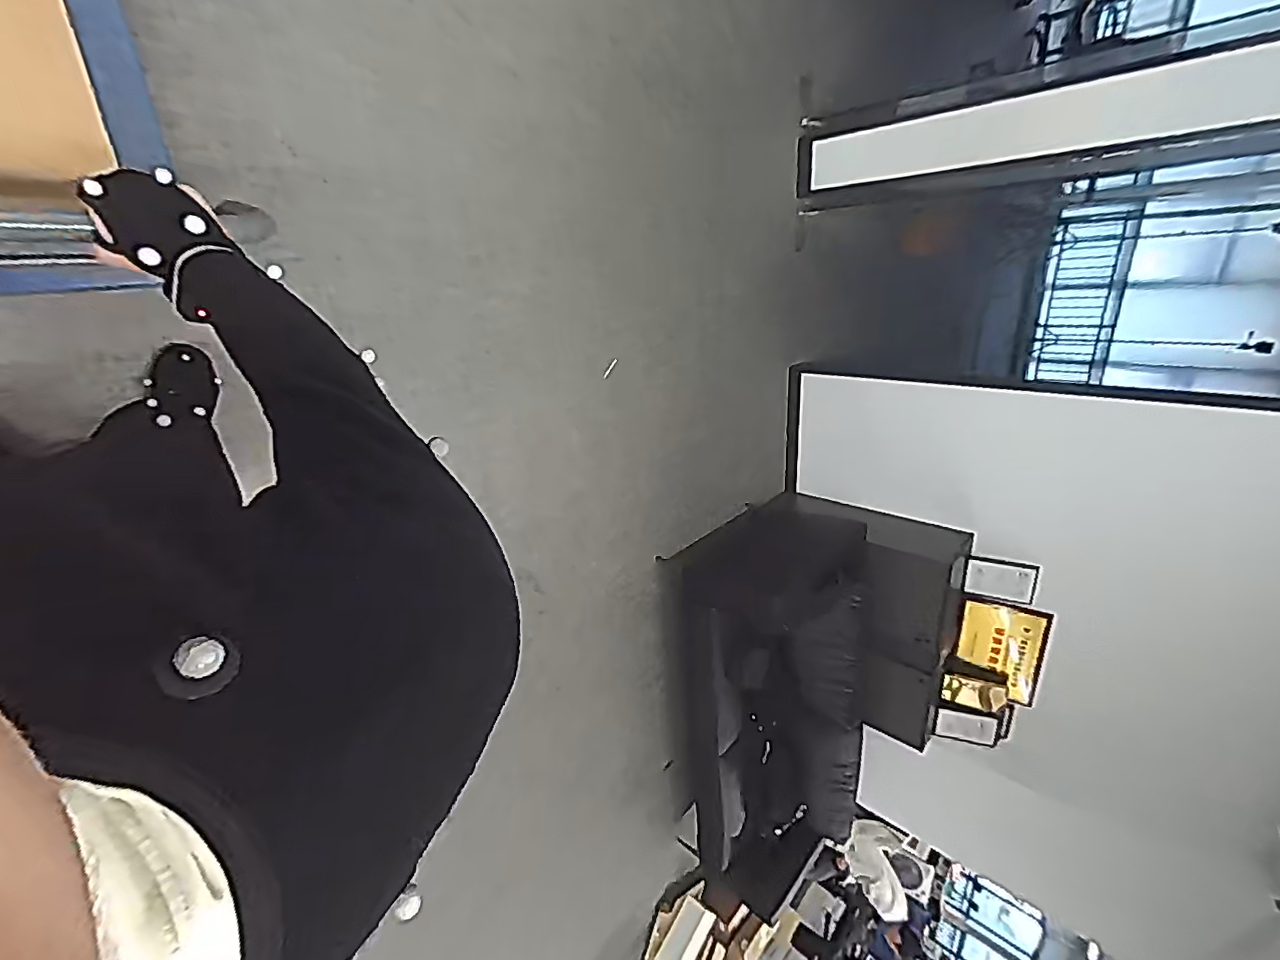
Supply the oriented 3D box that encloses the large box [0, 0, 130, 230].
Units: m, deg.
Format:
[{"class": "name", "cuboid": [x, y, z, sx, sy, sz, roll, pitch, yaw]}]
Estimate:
[{"class": "large box", "cuboid": [-0.973, -0.567, 0.723, 0.320, 0.320, 0.408, -23, 118, -43]}]
